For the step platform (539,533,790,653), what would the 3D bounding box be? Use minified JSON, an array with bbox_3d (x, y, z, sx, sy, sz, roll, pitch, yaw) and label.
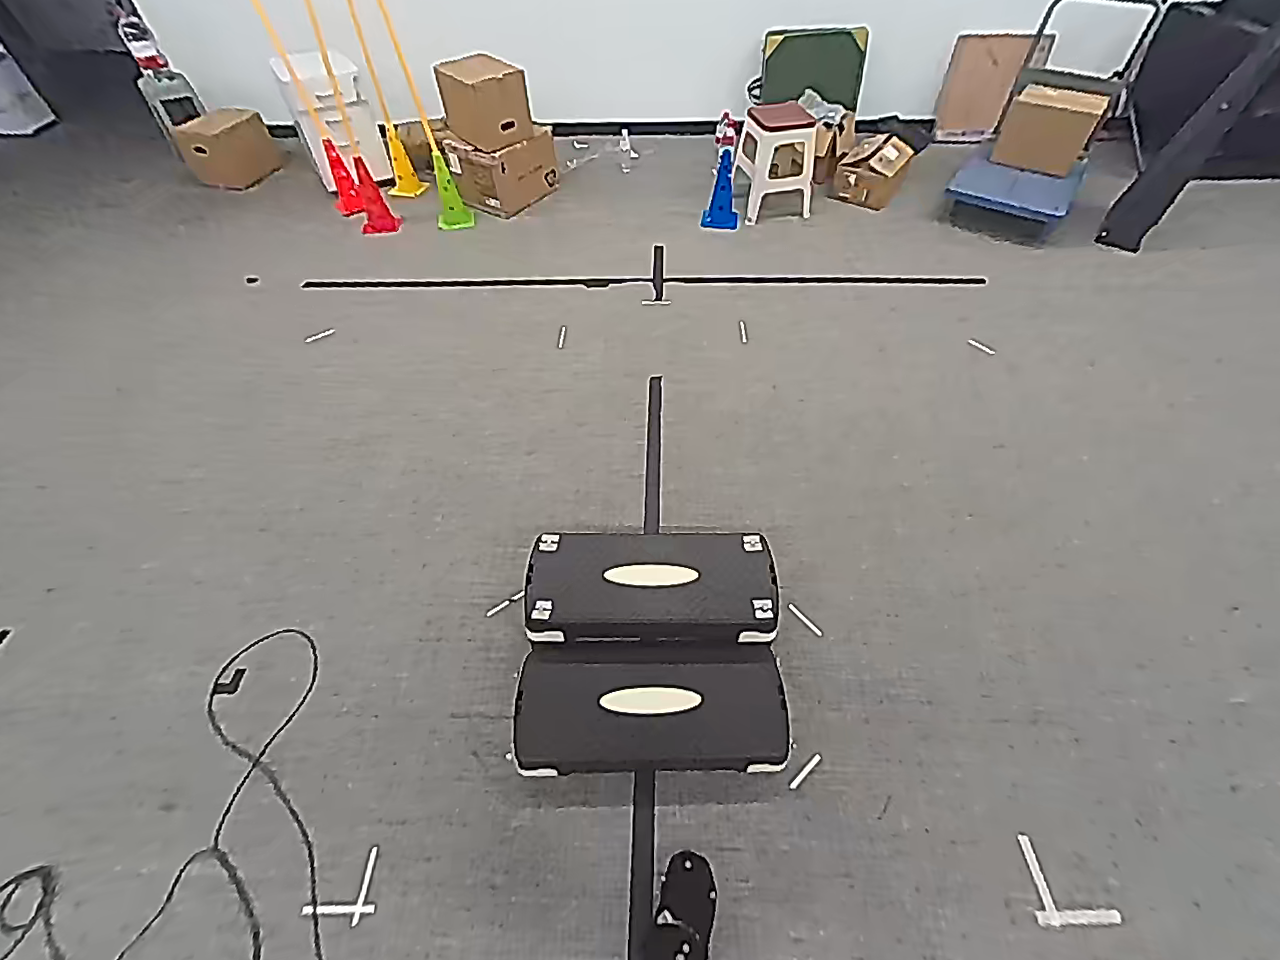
[{"bbox_3d":[0.064,0.310,1.509,0.684,0.204,0.286,0,51,0],"label":"step platform"}]
